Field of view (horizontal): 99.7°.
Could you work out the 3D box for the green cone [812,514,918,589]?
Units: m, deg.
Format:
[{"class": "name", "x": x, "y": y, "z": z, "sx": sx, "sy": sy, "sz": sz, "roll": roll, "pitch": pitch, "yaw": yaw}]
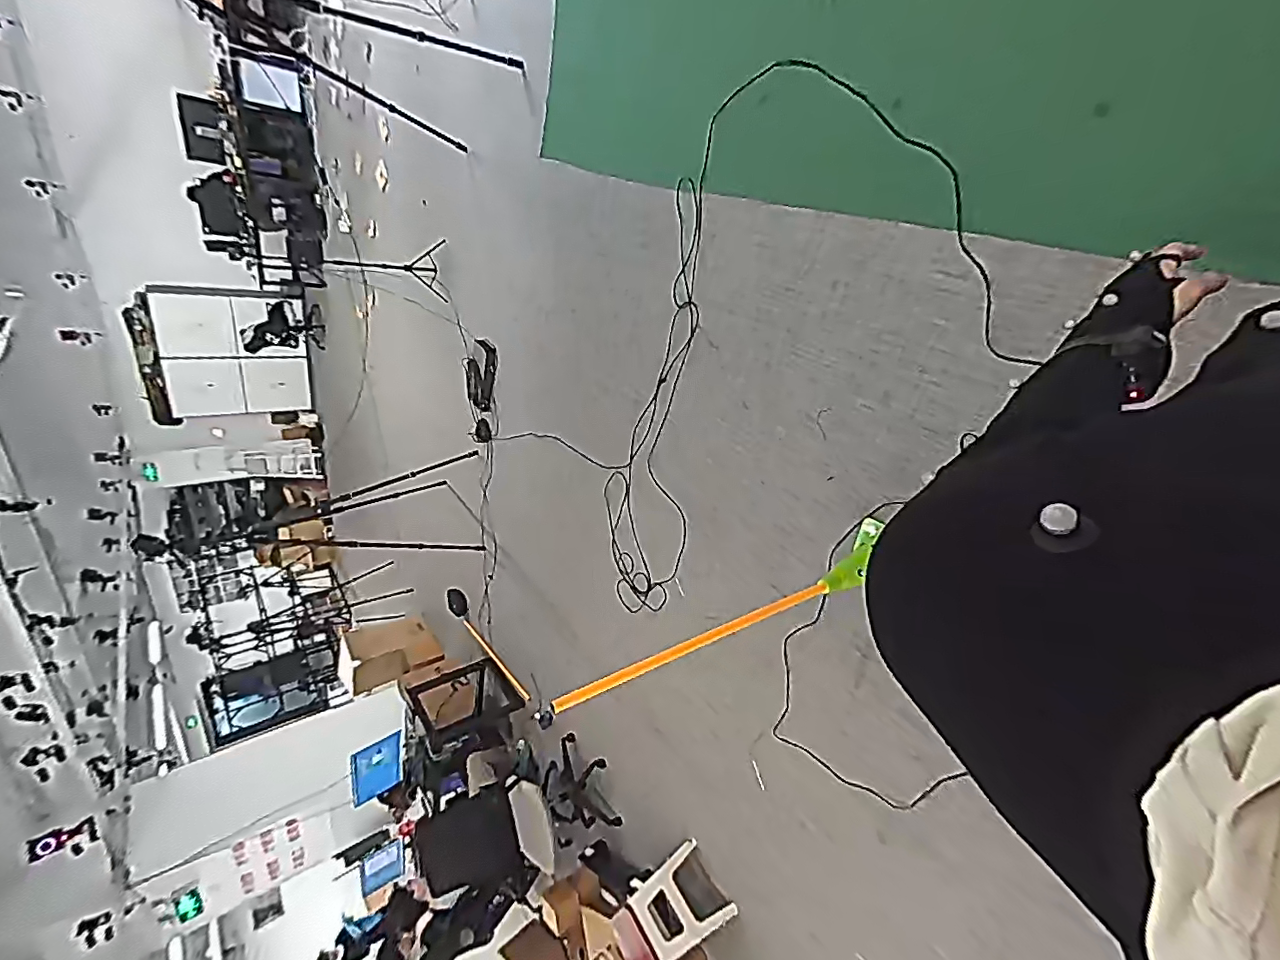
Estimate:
[{"class": "green cone", "x": 0.657, "y": 0.260, "z": 1.668, "sx": 0.202, "sy": 0.368, "sz": 0.200, "roll": 34, "pitch": 124, "yaw": 43}]
